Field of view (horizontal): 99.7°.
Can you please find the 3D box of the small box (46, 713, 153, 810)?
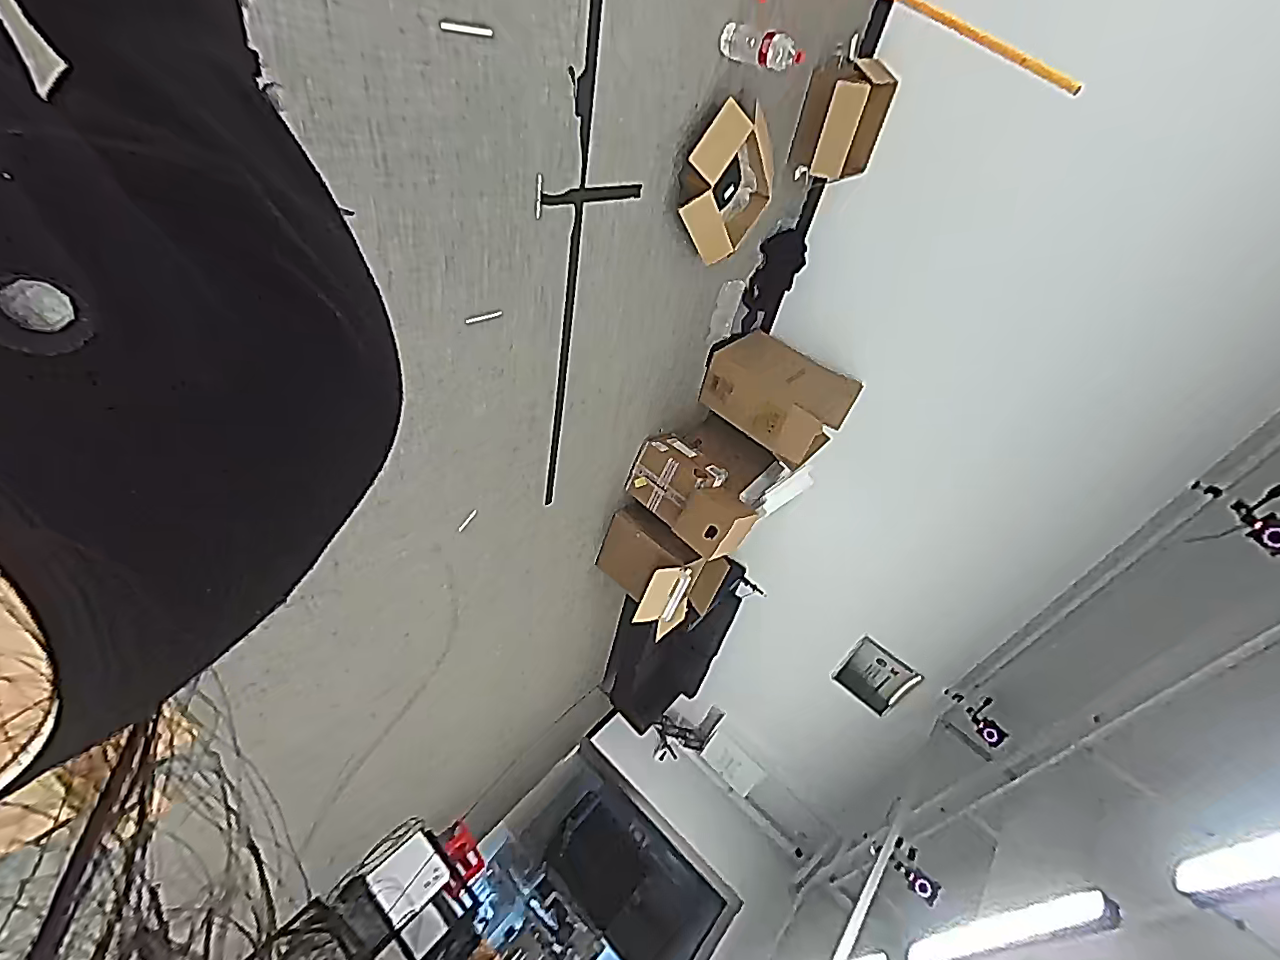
[{"bbox_3d":[-1.638,0.844,1.639,0.168,0.176,0.179,-29,147,-41],"label":"small box"}]
